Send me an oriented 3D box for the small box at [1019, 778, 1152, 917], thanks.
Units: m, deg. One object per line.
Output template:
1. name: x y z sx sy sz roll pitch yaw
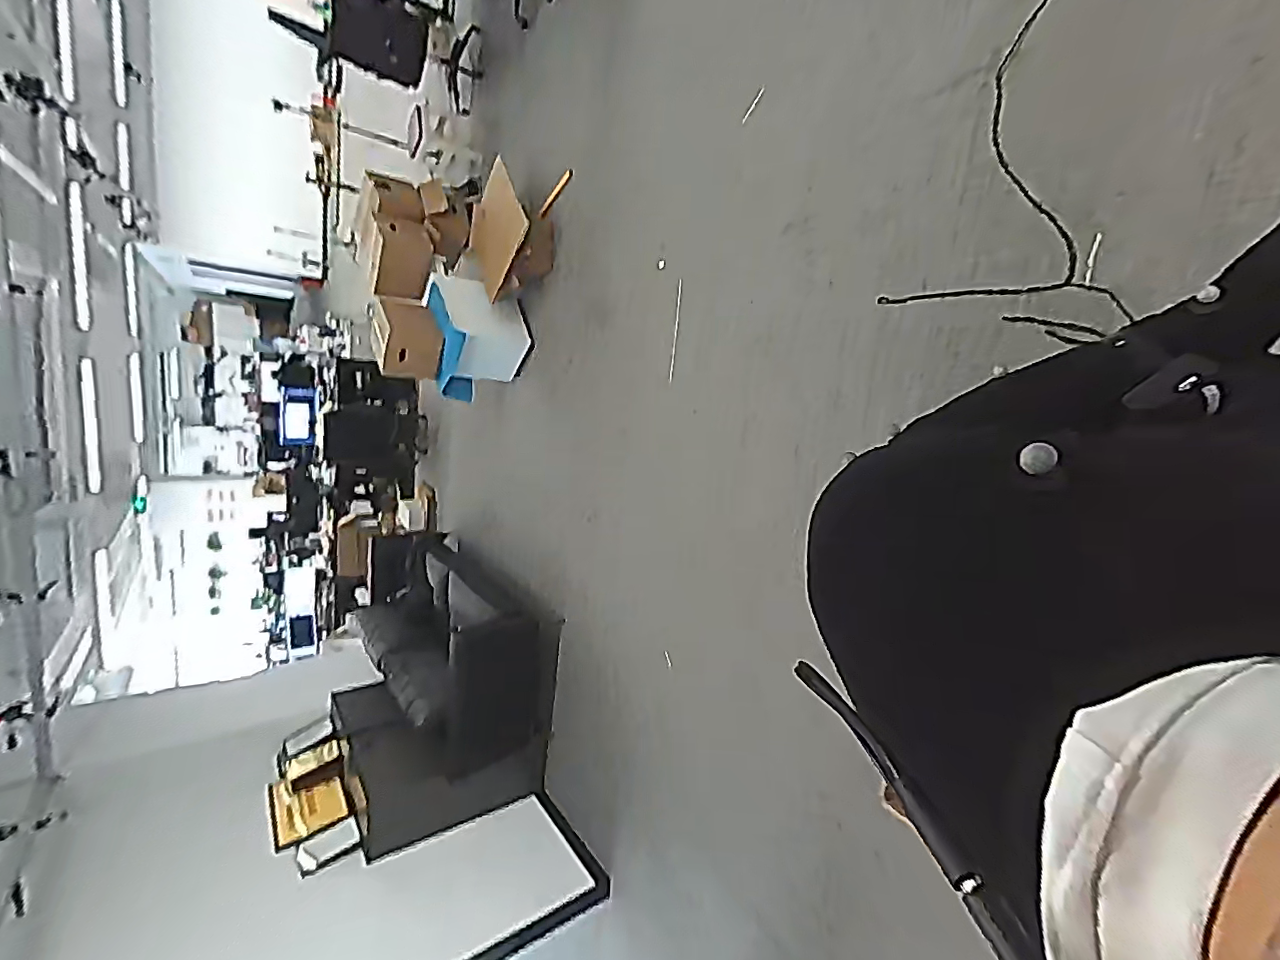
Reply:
1. small box: 1.016 0.823 1.231 0.168 0.176 0.179 37 120 46
